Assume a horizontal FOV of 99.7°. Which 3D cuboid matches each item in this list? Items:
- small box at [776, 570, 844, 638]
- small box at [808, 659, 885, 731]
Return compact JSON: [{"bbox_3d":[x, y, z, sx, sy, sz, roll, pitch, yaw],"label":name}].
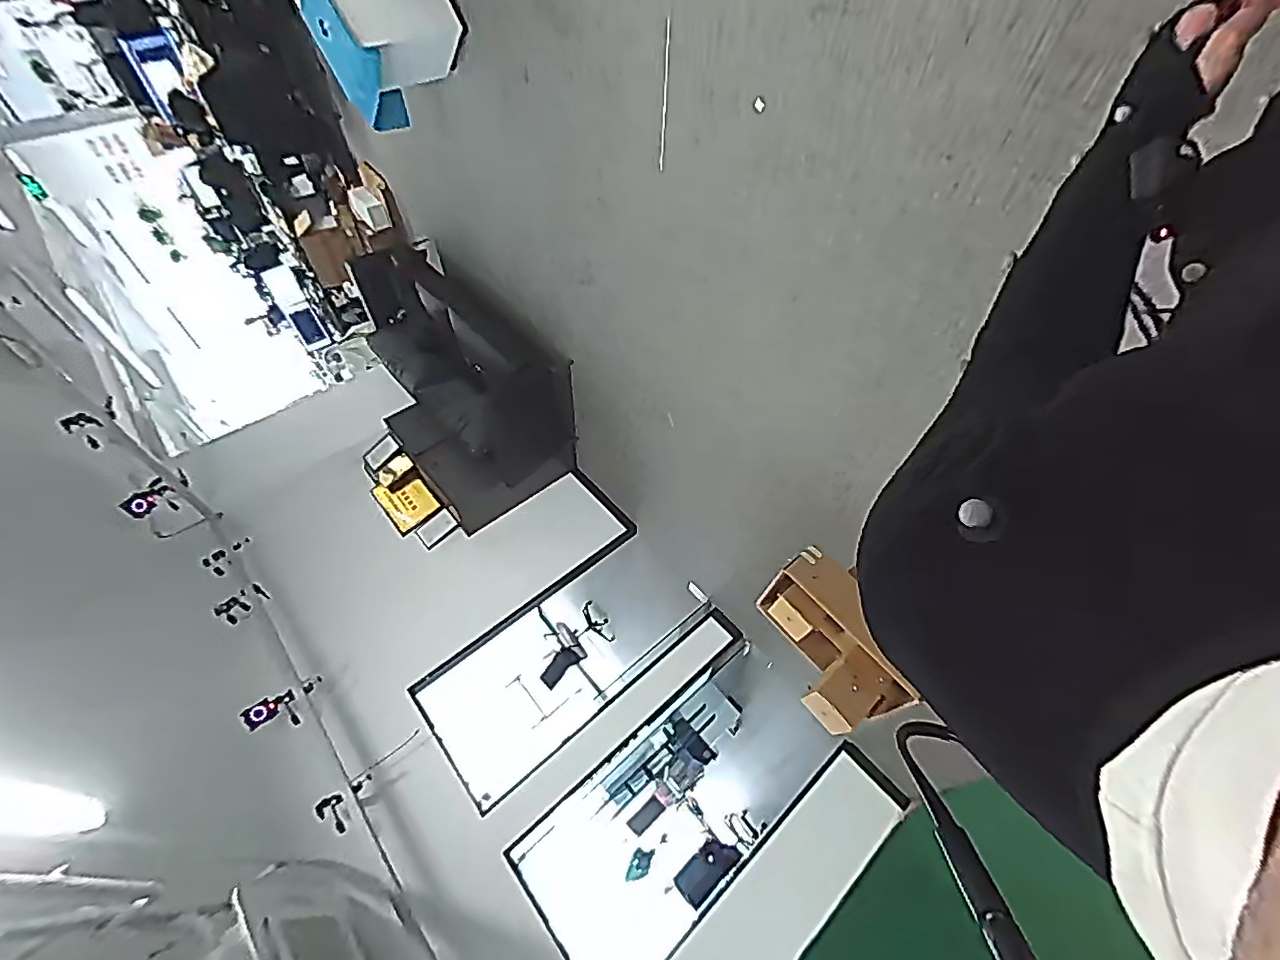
[{"bbox_3d":[0.675,0.489,2.142,0.168,0.176,0.179,47,154,22],"label":"small box"},{"bbox_3d":[0.748,0.777,1.957,0.168,0.176,0.179,47,154,19],"label":"small box"}]
